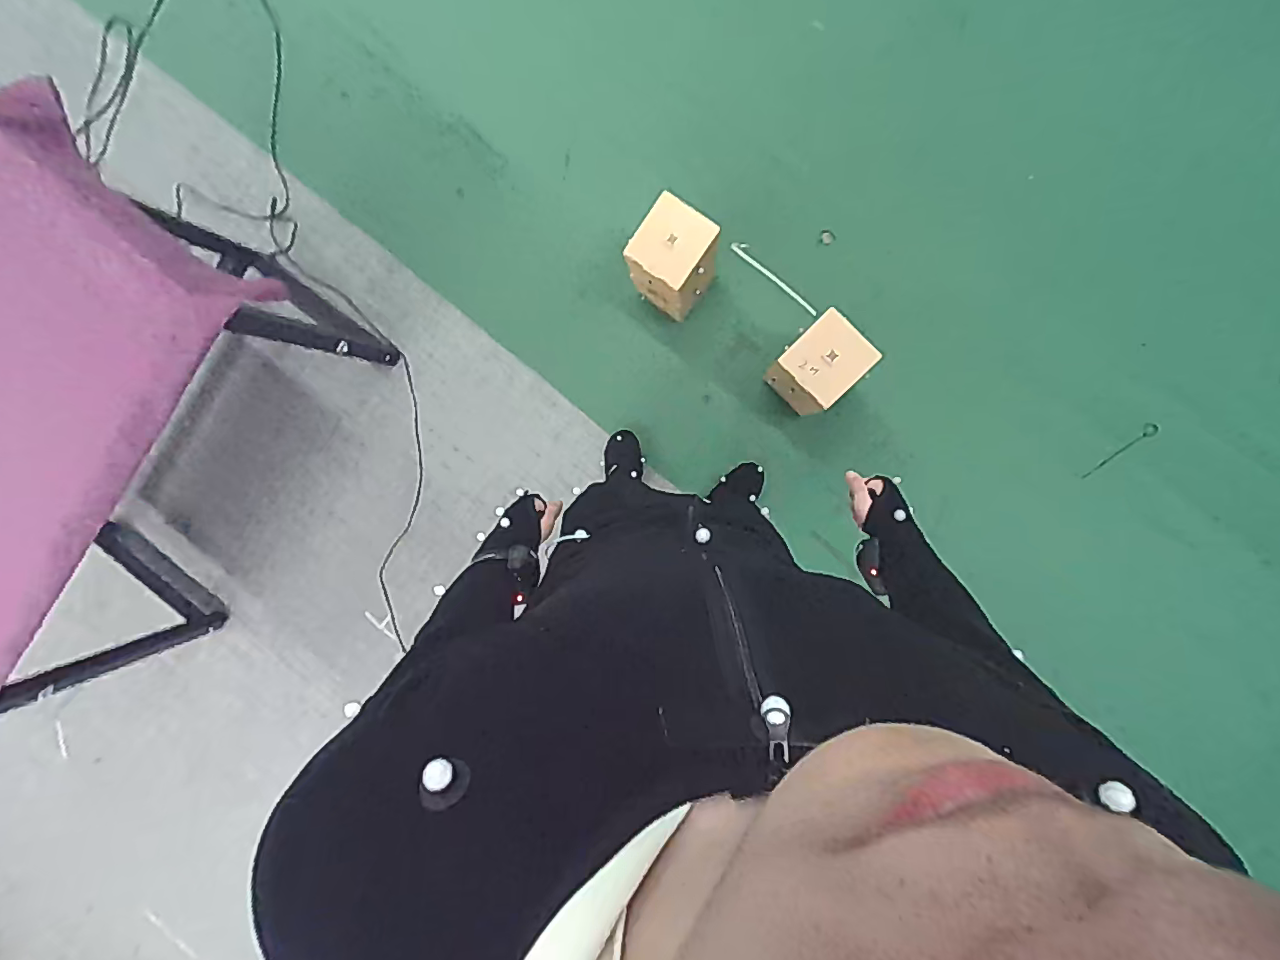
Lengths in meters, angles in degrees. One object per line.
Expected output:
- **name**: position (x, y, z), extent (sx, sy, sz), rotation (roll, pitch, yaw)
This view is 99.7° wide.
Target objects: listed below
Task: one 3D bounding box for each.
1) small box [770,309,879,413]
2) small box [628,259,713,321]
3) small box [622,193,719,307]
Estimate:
- **small box**: position (0.440, -0.283, 1.325), extent (0.179, 0.176, 0.168), rotation (-44, 88, 8)
- **small box**: position (0.092, -0.572, 1.516), extent (0.168, 0.176, 0.179), rotation (37, 97, 3)
- **small box**: position (0.078, -0.566, 1.354), extent (0.168, 0.176, 0.179), rotation (36, 98, 3)
